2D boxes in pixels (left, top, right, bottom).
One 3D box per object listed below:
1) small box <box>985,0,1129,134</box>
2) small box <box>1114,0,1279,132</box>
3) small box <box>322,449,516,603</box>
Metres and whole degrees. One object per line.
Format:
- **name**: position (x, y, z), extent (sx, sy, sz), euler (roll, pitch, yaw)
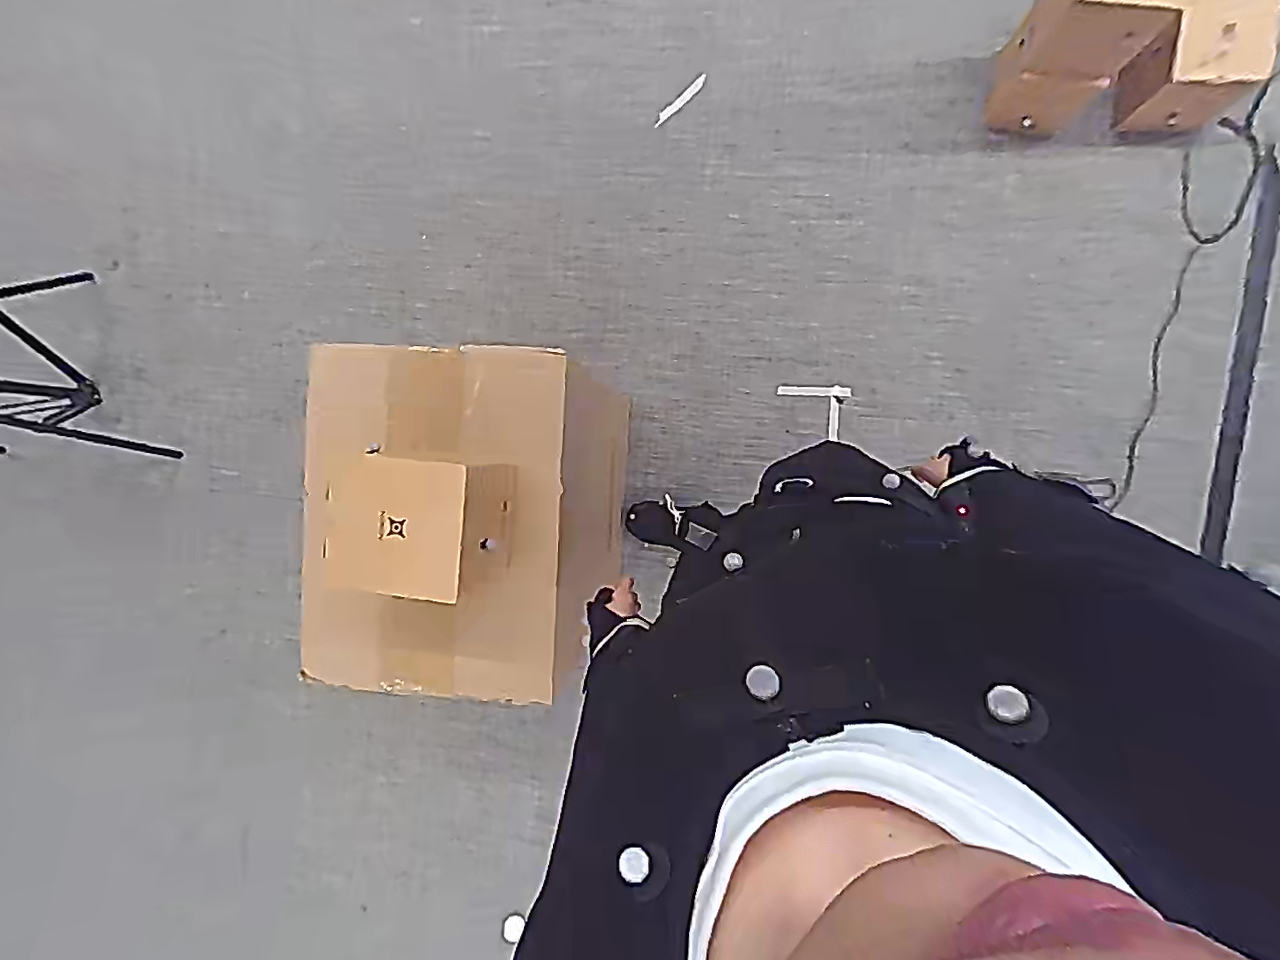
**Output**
- **small box**: position (0.873, -0.882, 1.152), extent (0.168, 0.176, 0.179), euler (12, 95, 8)
- **small box**: position (1.135, -0.861, 1.117), extent (0.168, 0.176, 0.179), euler (7, 93, 9)
- **small box**: position (-0.273, 0.048, 0.703), extent (0.179, 0.176, 0.168), euler (5, 93, 7)
